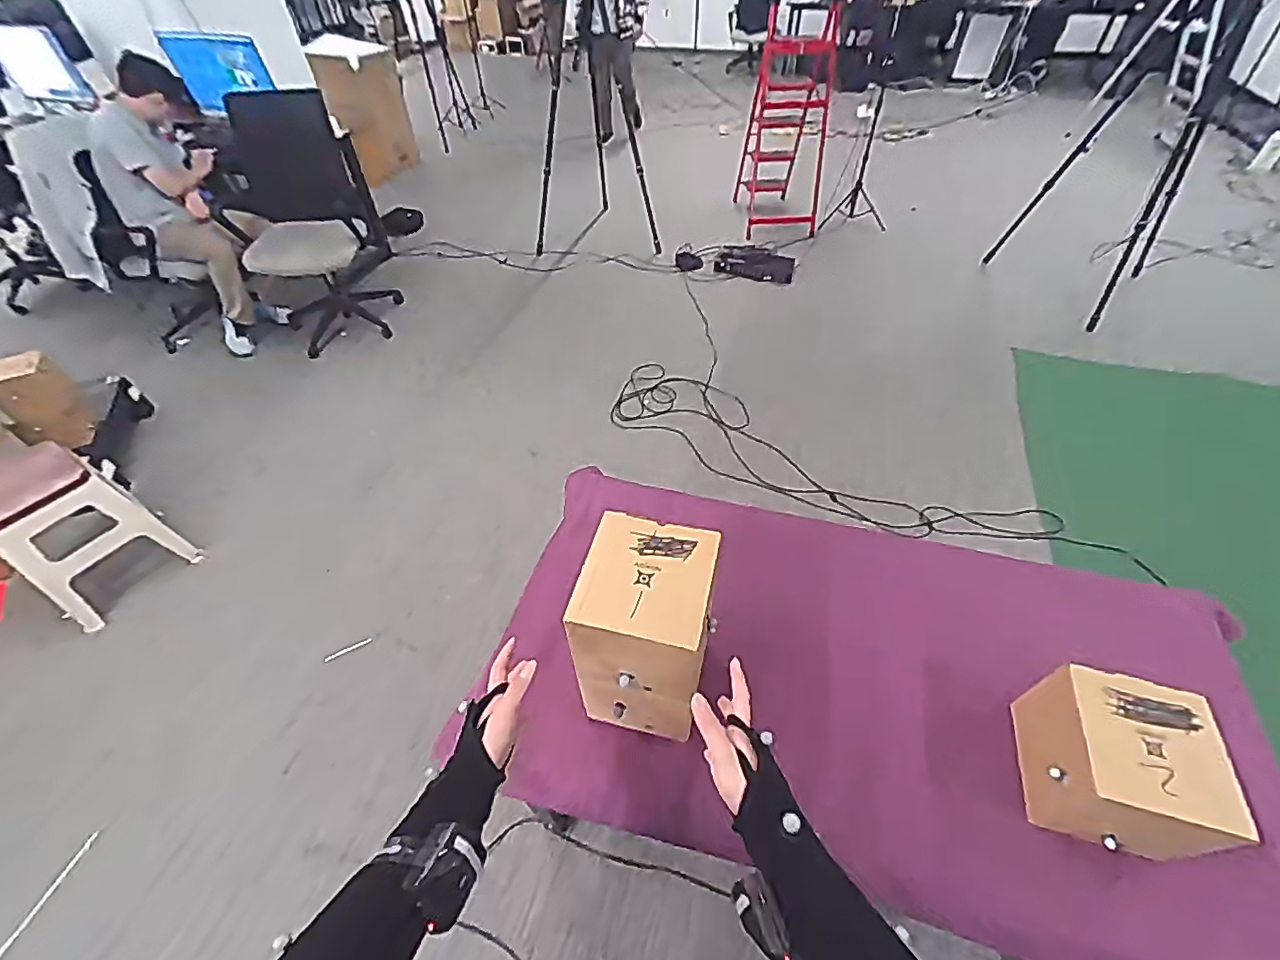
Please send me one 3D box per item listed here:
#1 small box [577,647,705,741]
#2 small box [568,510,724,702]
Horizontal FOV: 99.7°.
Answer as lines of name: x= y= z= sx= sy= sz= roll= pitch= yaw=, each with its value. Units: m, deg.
small box: x=0.012 y=0.286 z=0.858 sx=0.168 sy=0.176 sz=0.179 roll=10 pitch=47 yaw=10
small box: x=0.012 y=0.172 z=0.740 sx=0.168 sy=0.176 sz=0.179 roll=10 pitch=48 yaw=11
